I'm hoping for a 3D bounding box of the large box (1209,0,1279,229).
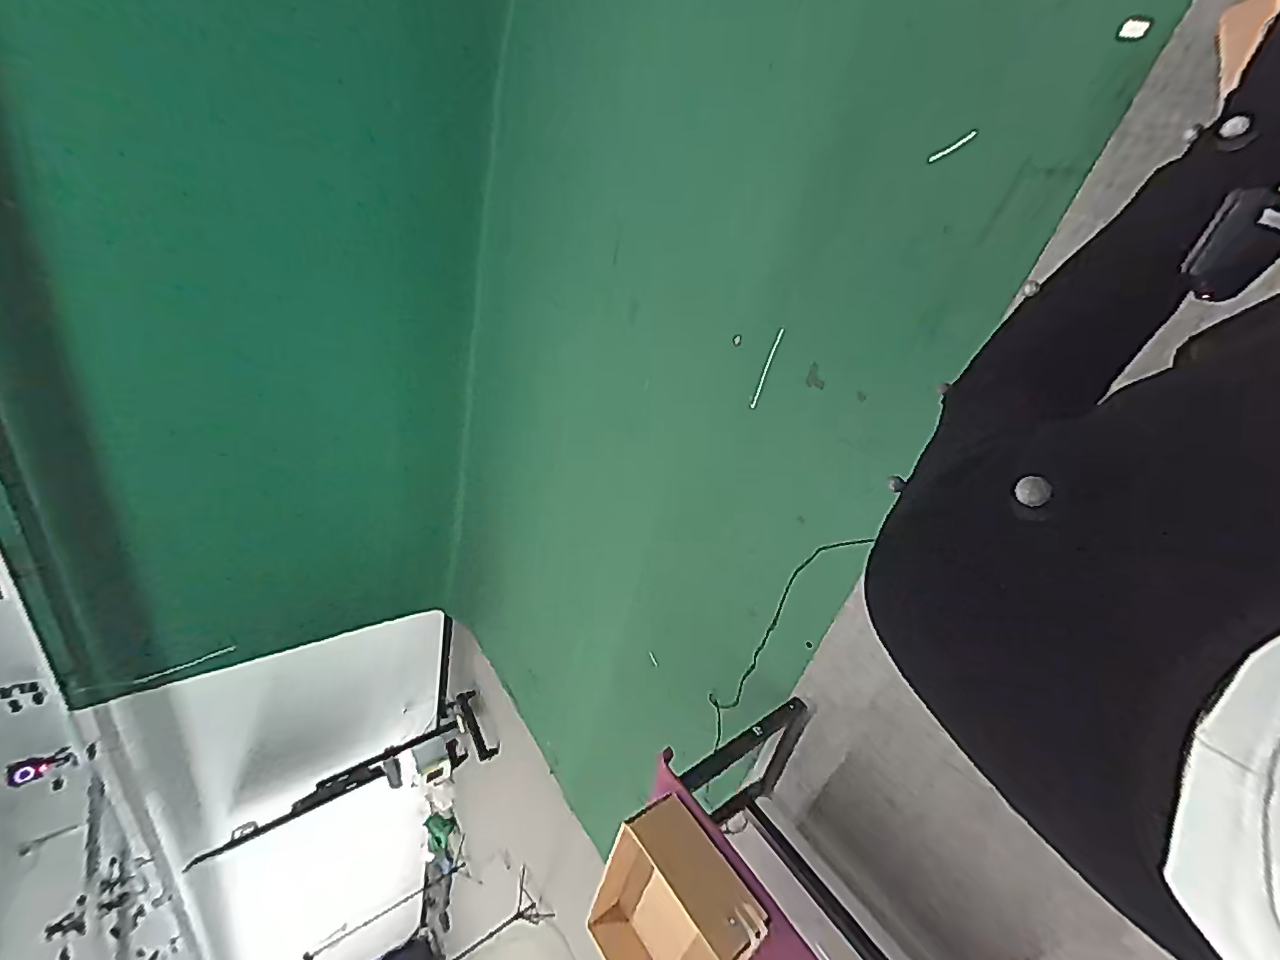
[{"bbox_3d":[1.197,-0.634,0.837,0.408,0.320,0.320,-1,97,51],"label":"large box"}]
